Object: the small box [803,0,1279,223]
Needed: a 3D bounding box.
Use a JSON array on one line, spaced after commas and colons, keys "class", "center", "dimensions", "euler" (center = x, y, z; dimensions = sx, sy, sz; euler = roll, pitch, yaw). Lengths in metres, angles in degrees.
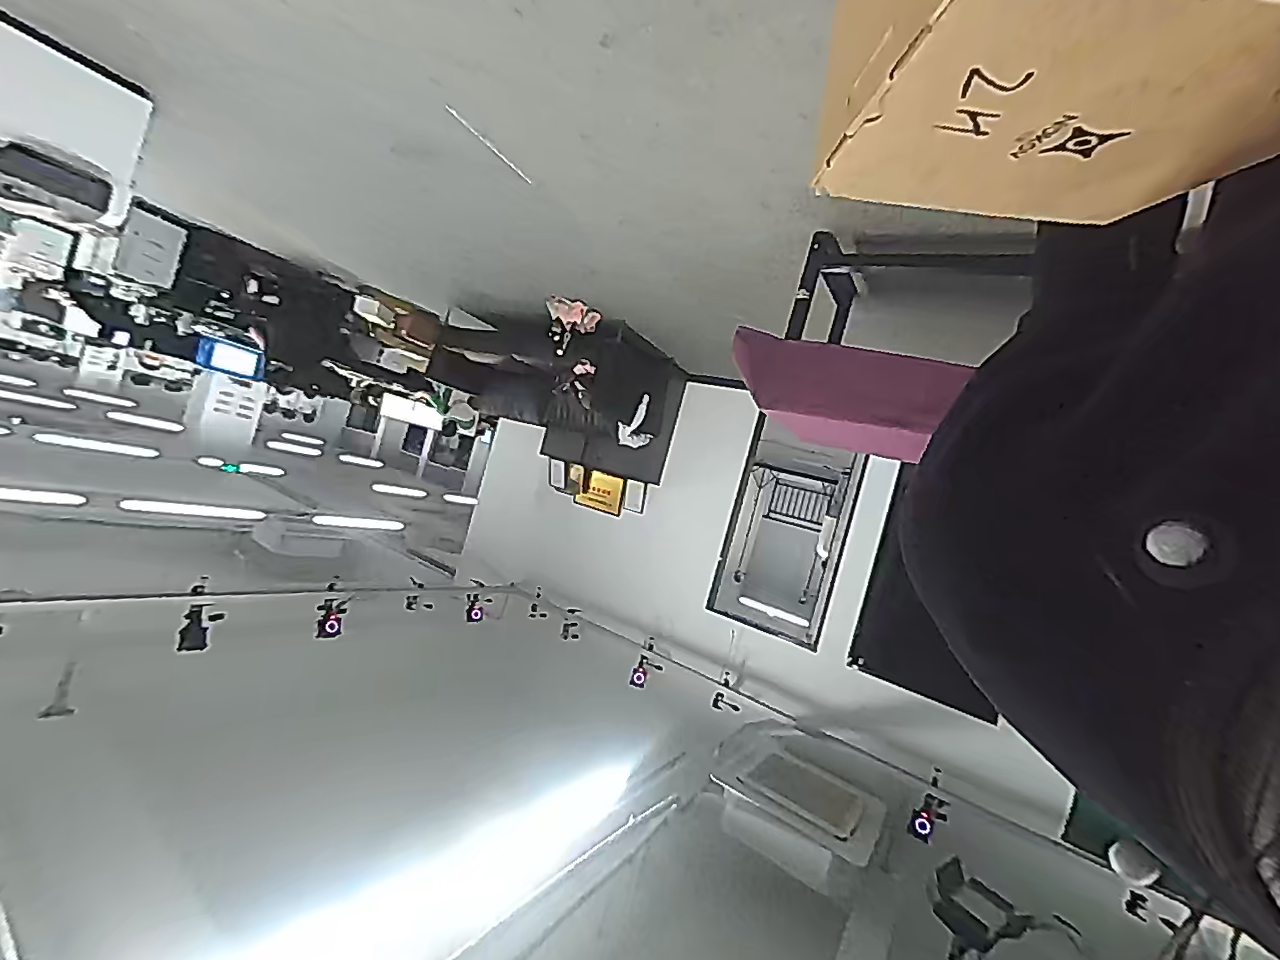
[{"class": "small box", "center": [0.188, -0.227, 0.216], "dimensions": [0.179, 0.176, 0.168], "euler": [7, -174, -2]}]
